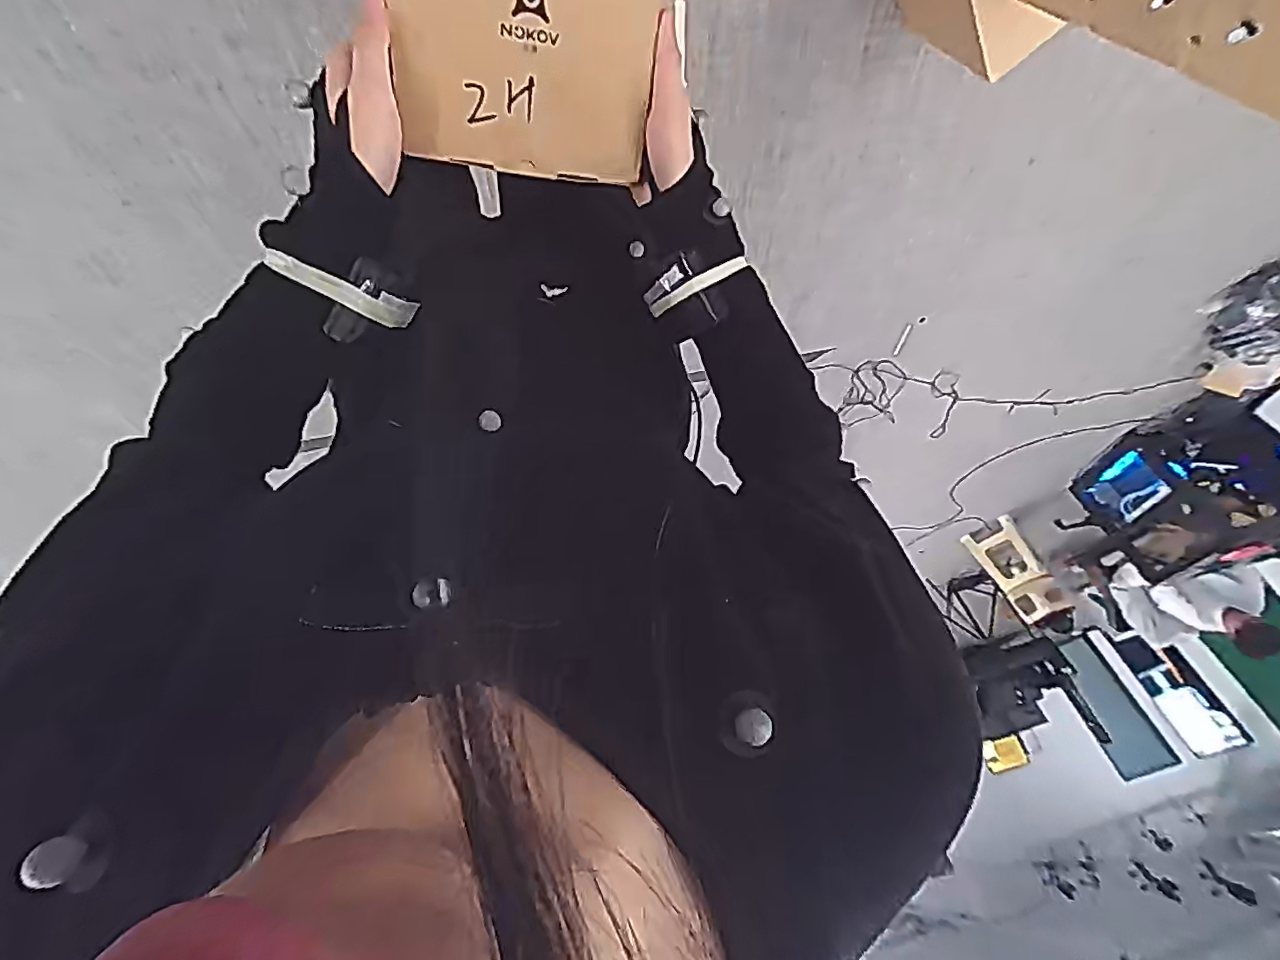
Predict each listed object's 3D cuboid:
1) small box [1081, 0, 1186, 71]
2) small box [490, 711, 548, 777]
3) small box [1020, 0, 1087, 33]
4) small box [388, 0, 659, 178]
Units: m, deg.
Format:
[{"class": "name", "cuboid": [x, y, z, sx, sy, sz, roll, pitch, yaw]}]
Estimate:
[{"class": "small box", "cuboid": [0.678, -0.658, 0.647, 0.179, 0.176, 0.168, -37, 141, 25]}, {"class": "small box", "cuboid": [-0.442, 0.960, 1.971, 0.179, 0.176, 0.168, -10, 144, -9]}, {"class": "small box", "cuboid": [0.636, -0.786, 0.741, 0.179, 0.176, 0.168, -36, 142, 26]}, {"class": "small box", "cuboid": [-0.086, -0.338, 0.395, 0.168, 0.176, 0.179, 0, 124, -14]}]
